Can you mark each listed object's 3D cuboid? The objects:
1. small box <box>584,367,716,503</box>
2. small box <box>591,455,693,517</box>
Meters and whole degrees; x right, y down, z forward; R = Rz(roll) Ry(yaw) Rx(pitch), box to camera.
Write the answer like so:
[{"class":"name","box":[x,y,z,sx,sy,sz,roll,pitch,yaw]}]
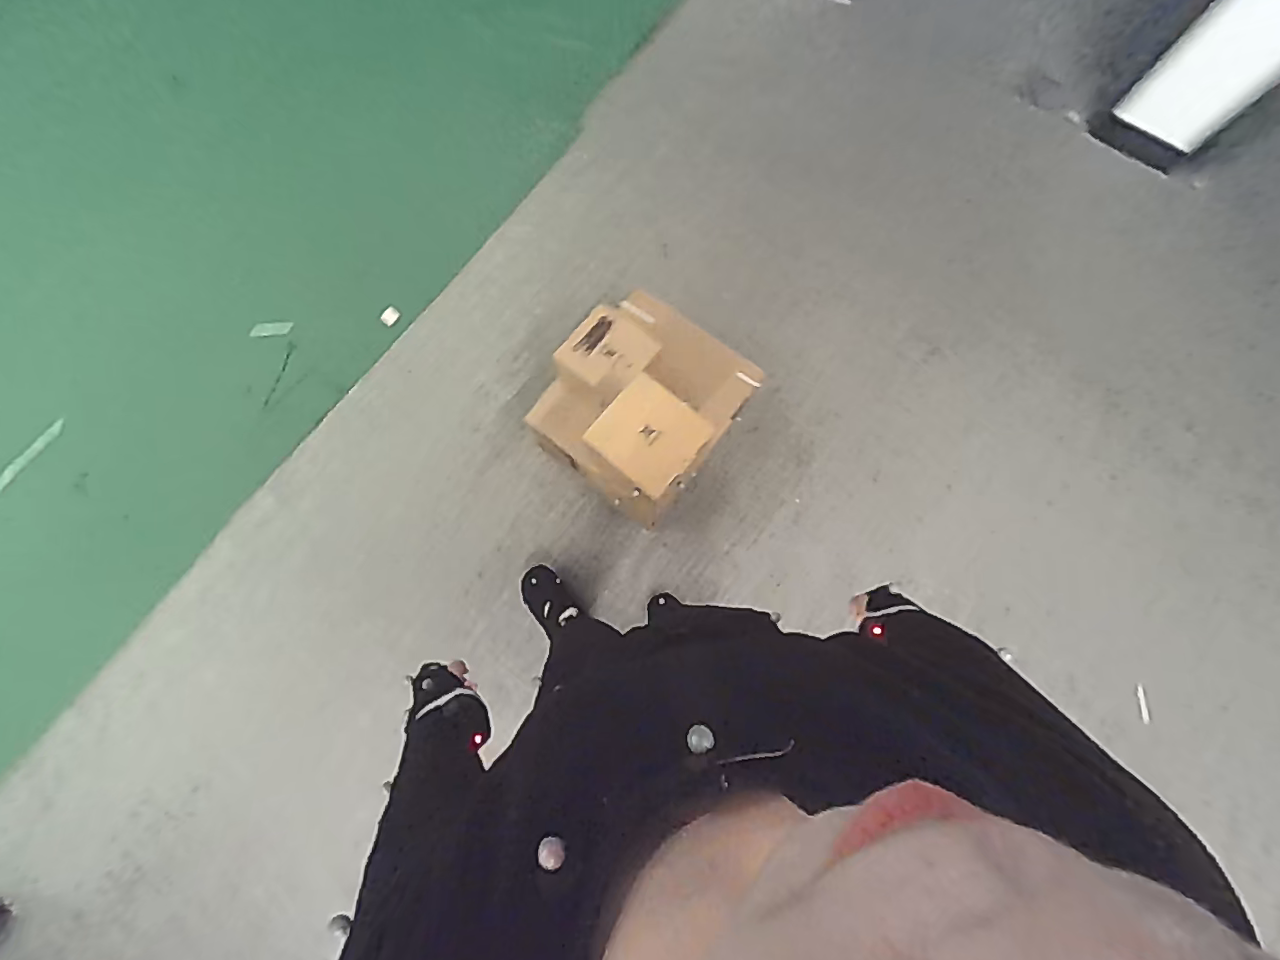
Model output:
[{"class":"small box","box":[0.016,-0.074,1.018,0.179,0.176,0.168,40,81,6]},{"class":"small box","box":[0.013,-0.040,1.178,0.168,0.176,0.179,39,81,7]}]
